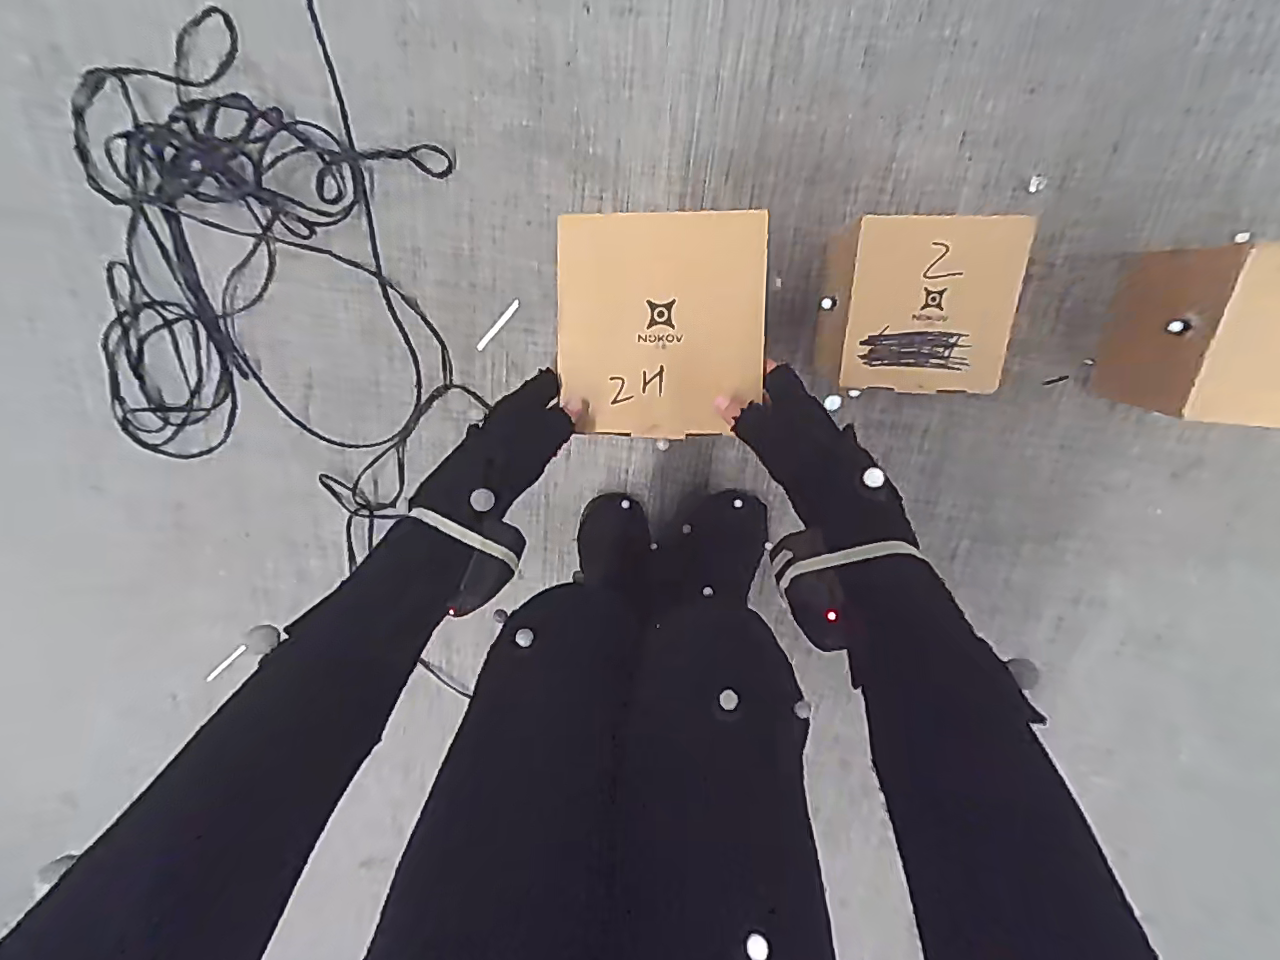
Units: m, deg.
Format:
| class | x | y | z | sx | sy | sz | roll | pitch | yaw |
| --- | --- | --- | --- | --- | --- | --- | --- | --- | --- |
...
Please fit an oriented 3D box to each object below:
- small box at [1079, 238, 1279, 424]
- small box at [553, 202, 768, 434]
| class | x | y | z | sx | sy | sz | roll | pitch | yaw |
| --- | --- | --- | --- | --- | --- | --- | --- | --- | --- |
| small box | 0.655 | -0.171 | 0.614 | 0.168 | 0.176 | 0.179 | 6 | 112 | 6 |
| small box | 0.019 | -0.133 | 0.502 | 0.168 | 0.176 | 0.179 | 2 | 96 | 5 |
